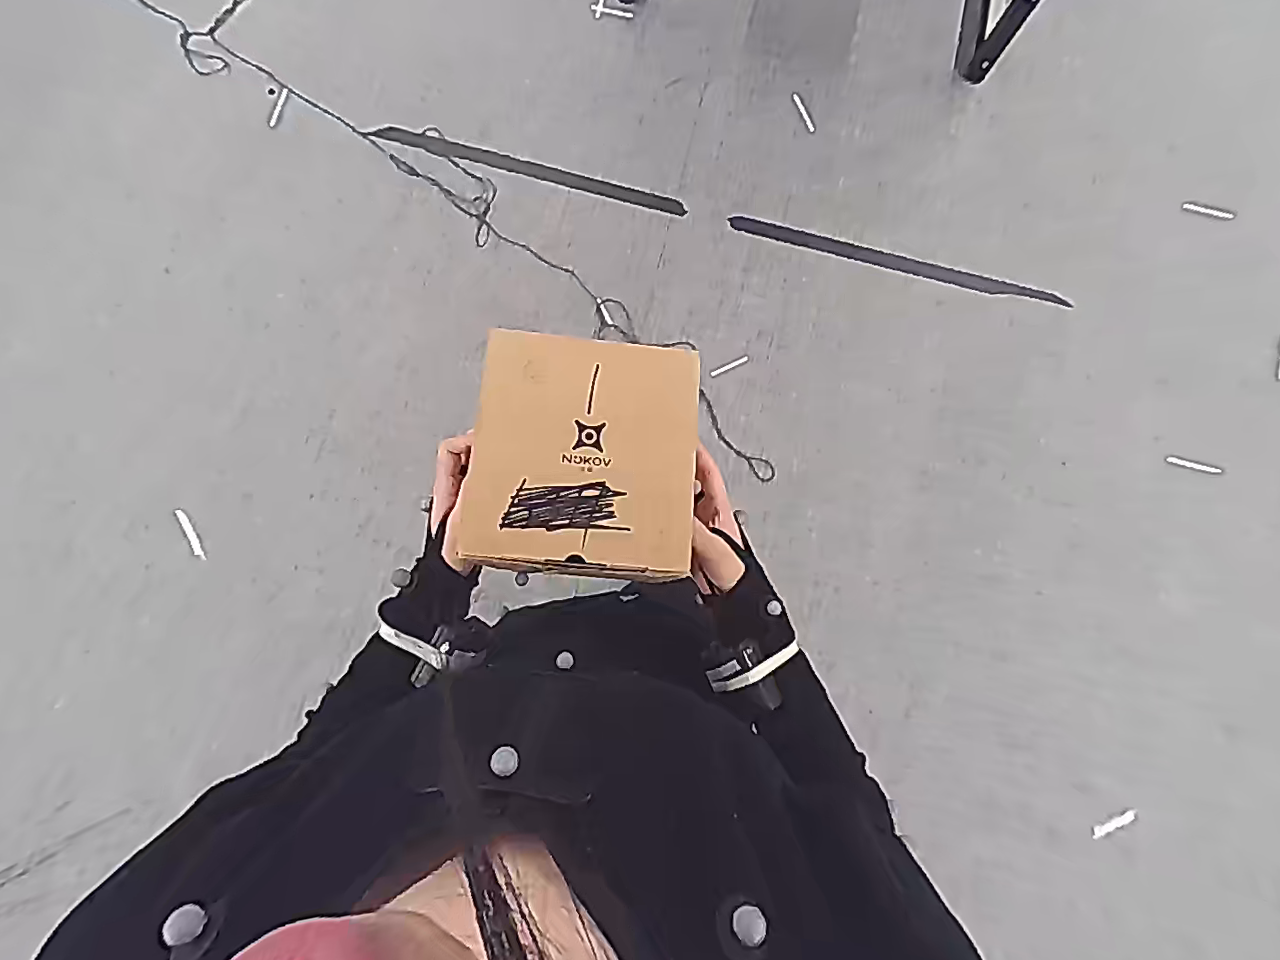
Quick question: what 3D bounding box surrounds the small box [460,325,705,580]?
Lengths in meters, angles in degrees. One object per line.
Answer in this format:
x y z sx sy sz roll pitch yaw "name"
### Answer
-0.045 -0.008 0.473 0.168 0.176 0.179 6 76 -6 "small box"
